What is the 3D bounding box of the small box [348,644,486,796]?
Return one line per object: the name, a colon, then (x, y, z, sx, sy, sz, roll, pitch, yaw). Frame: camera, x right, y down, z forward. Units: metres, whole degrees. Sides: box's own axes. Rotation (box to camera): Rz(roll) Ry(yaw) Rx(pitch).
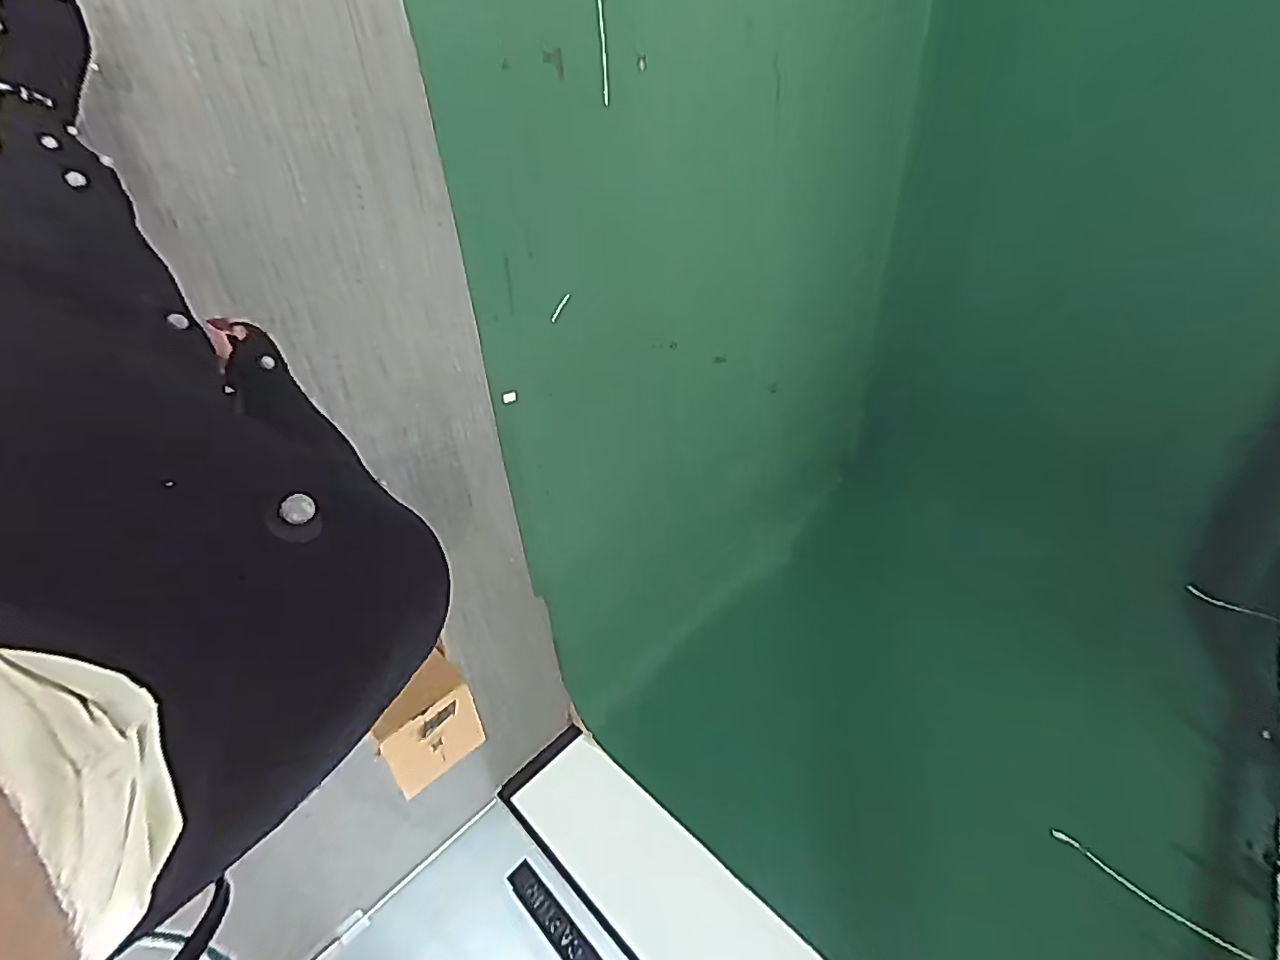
small box: (-0.422, 0.440, 1.026, 0.168, 0.176, 0.179, -30, 131, -35)
